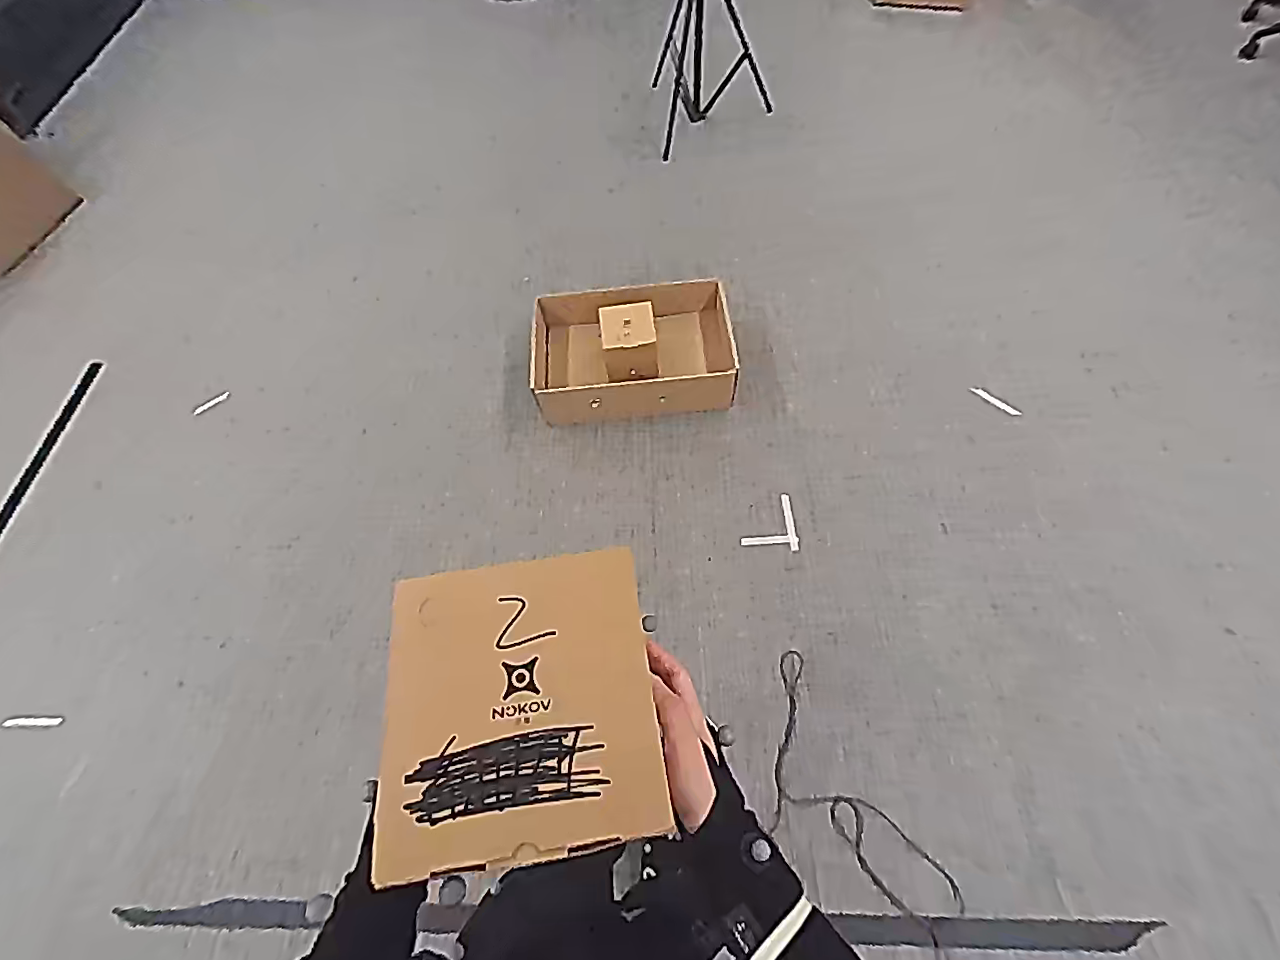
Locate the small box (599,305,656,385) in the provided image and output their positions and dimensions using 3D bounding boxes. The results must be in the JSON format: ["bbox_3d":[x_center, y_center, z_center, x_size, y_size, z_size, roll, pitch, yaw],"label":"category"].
[{"bbox_3d":[-0.039,-0.429,1.726,0.168,0.176,0.179,-7,61,0],"label":"small box"}]
